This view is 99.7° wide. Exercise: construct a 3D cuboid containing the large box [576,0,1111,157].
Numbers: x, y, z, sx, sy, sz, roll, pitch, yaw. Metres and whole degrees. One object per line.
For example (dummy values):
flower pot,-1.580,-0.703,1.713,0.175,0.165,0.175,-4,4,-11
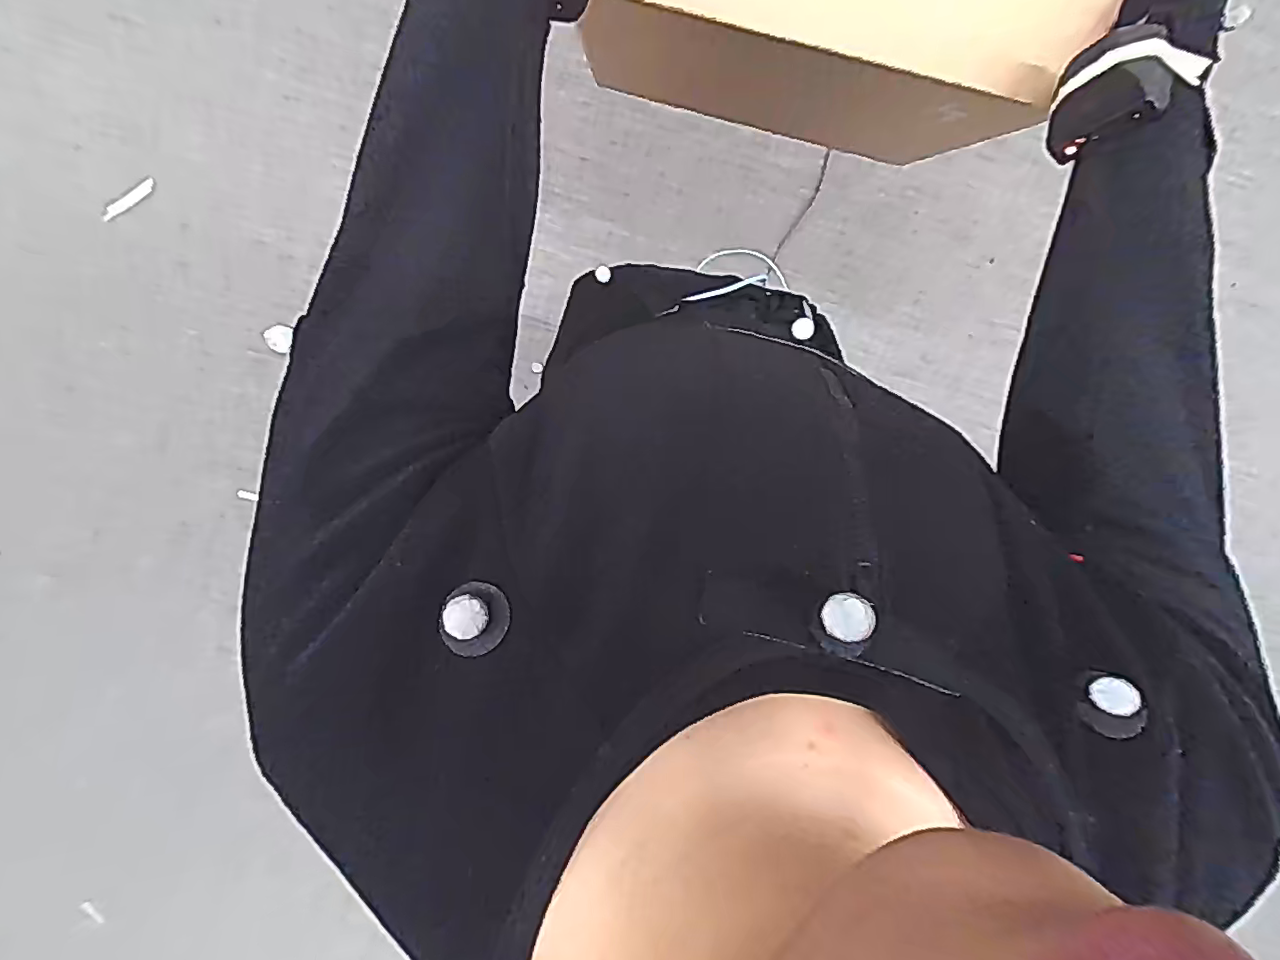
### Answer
large box,0.170,-0.525,0.483,0.408,0.320,0.320,12,115,-4
